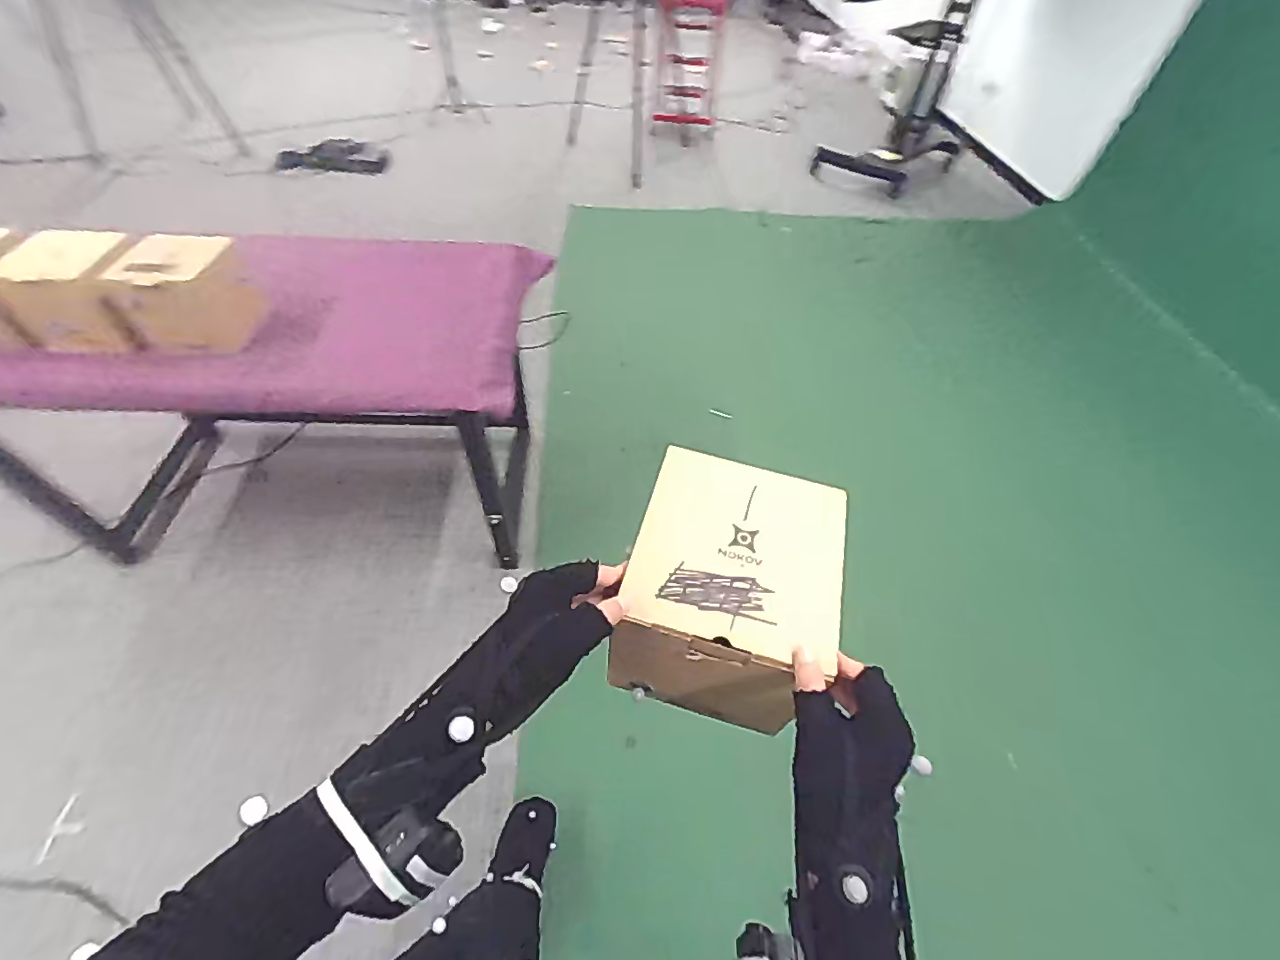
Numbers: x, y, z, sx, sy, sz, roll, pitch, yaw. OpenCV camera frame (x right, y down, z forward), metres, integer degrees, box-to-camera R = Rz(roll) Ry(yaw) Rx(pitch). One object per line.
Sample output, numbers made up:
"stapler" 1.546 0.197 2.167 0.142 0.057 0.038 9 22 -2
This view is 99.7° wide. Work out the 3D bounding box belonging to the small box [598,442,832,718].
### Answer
"small box" 0.065 0.098 0.506 0.168 0.176 0.179 16 51 6
